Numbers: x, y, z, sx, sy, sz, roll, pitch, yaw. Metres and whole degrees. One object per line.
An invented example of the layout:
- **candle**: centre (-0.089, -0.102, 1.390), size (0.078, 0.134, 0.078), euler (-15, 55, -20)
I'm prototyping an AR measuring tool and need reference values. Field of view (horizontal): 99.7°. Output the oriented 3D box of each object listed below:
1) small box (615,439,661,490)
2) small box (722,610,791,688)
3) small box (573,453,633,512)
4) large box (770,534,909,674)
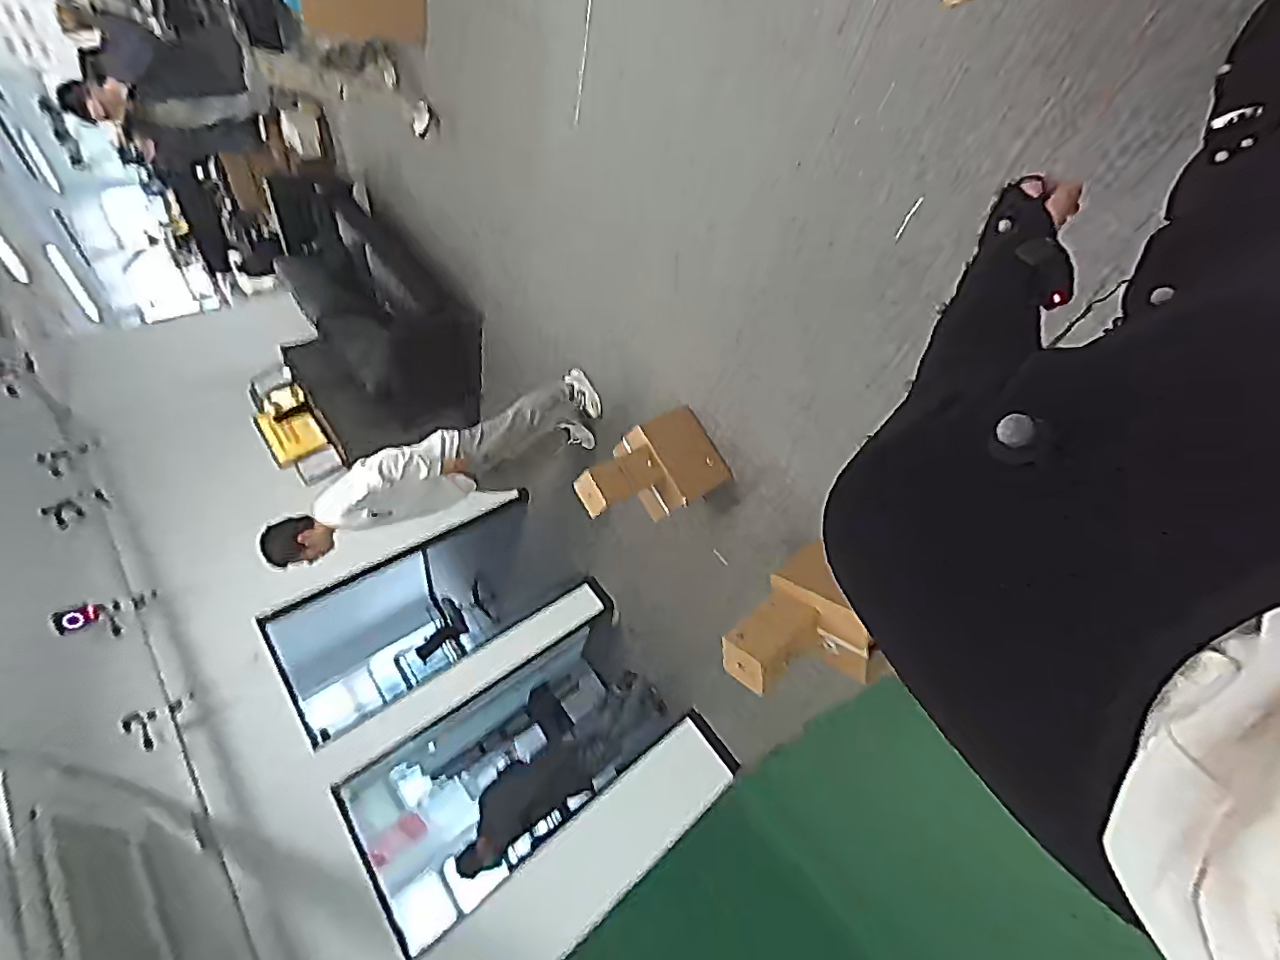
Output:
- **small box**: centre (-0.035, -0.055, 2.380), size (0.168, 0.176, 0.179), euler (60, 146, 4)
- **small box**: centre (0.409, 0.590, 1.917), size (0.179, 0.176, 0.168), euler (27, 134, 43)
- **small box**: centre (-0.152, 0.008, 2.286), size (0.168, 0.176, 0.179), euler (59, 147, 6)
- **large box**: centre (0.764, 0.457, 2.091), size (0.408, 0.320, 0.320), euler (21, 131, 45)
